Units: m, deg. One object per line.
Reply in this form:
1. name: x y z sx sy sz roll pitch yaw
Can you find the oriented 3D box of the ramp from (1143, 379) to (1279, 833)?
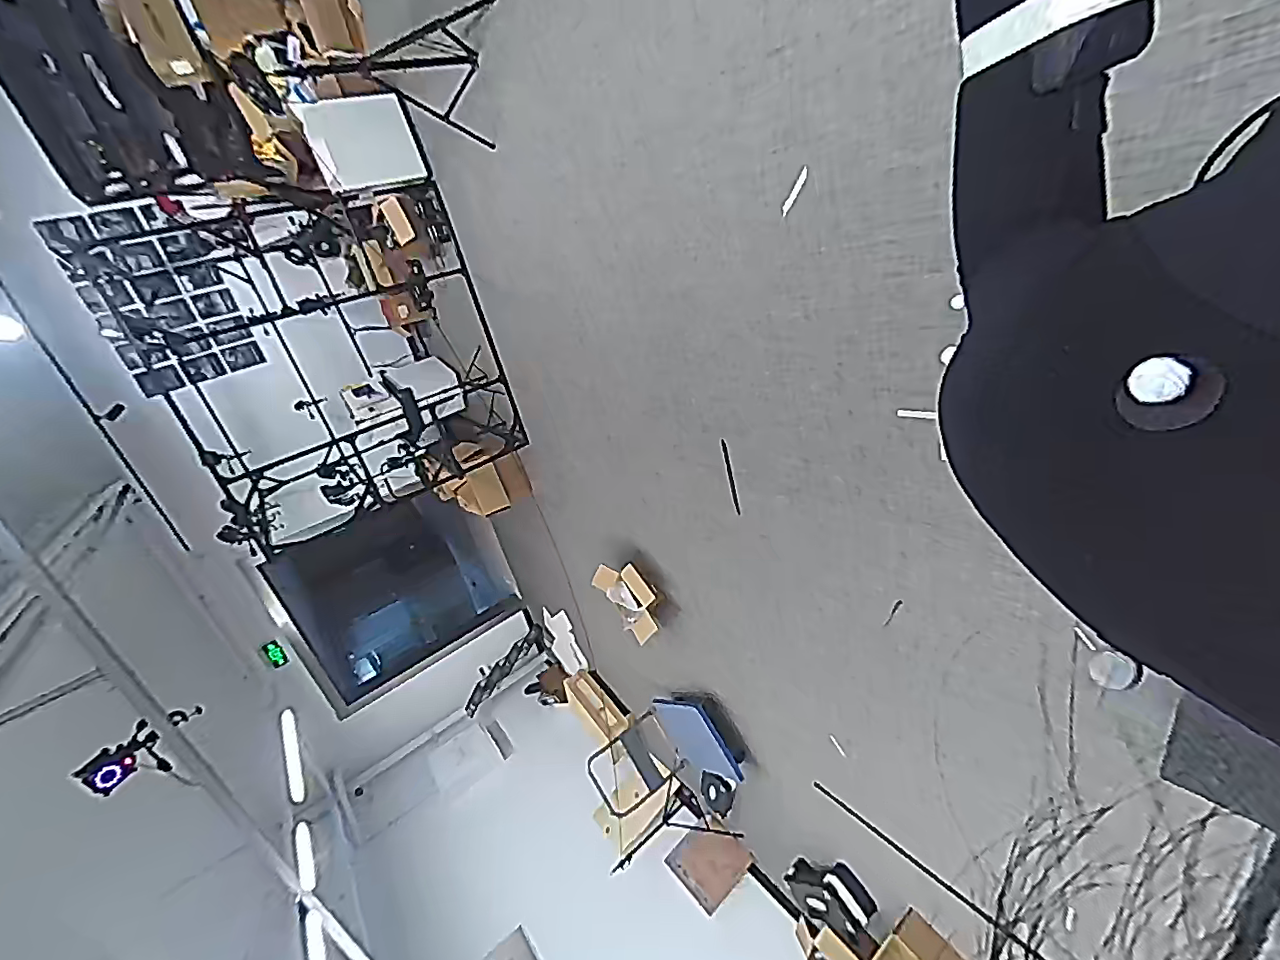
1. ramp: 1.385 0.315 1.041 0.509 0.206 0.991 18 130 53
